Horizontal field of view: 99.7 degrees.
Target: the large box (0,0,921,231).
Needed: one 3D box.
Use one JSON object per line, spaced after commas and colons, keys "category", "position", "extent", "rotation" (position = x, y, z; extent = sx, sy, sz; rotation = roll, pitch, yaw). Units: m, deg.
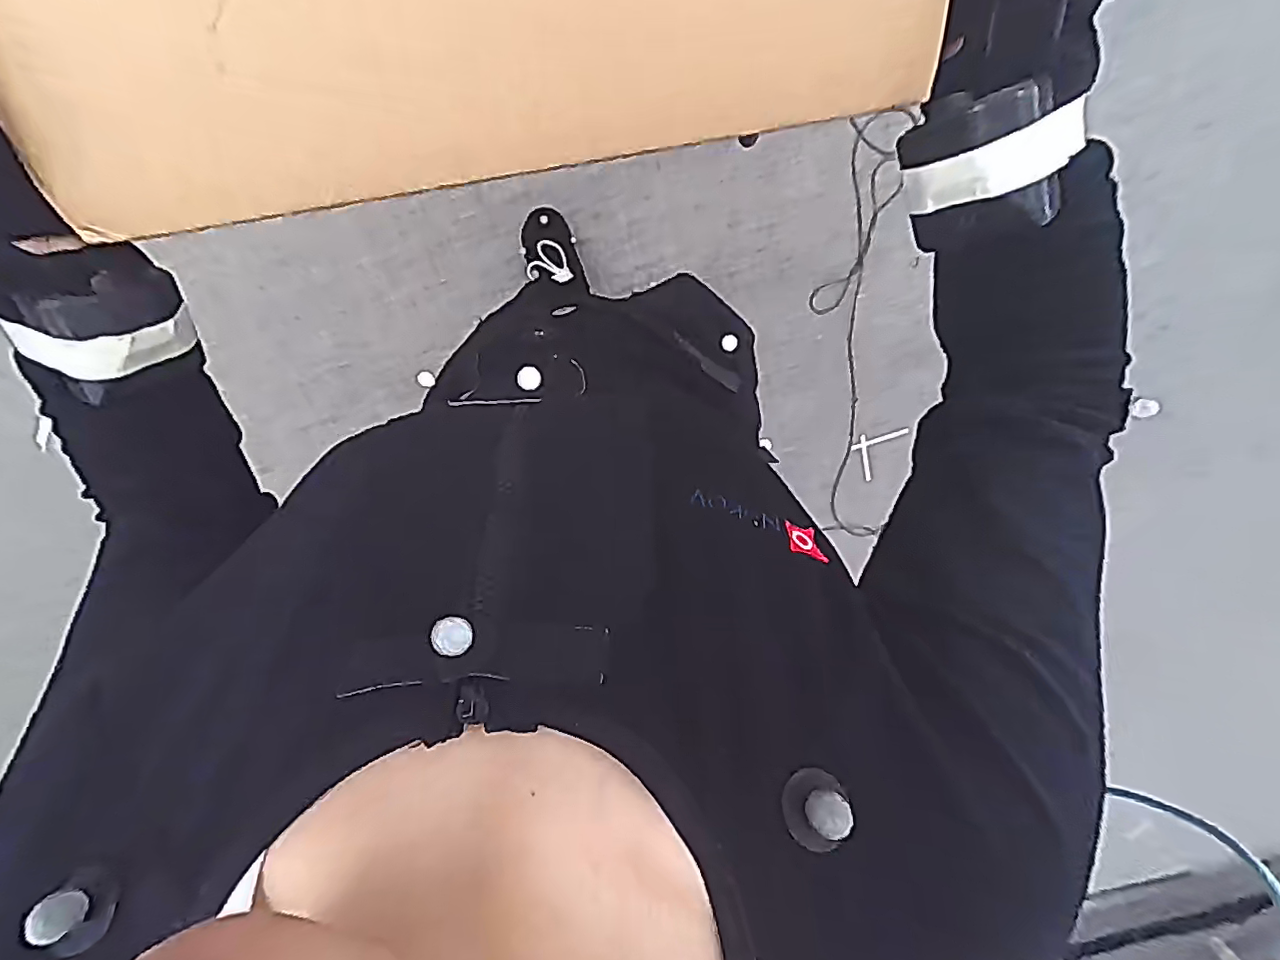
{"category": "large box", "position": [-0.100, -0.366, 0.268], "extent": [0.408, 0.320, 0.320], "rotation": [-9, 132, 0]}
